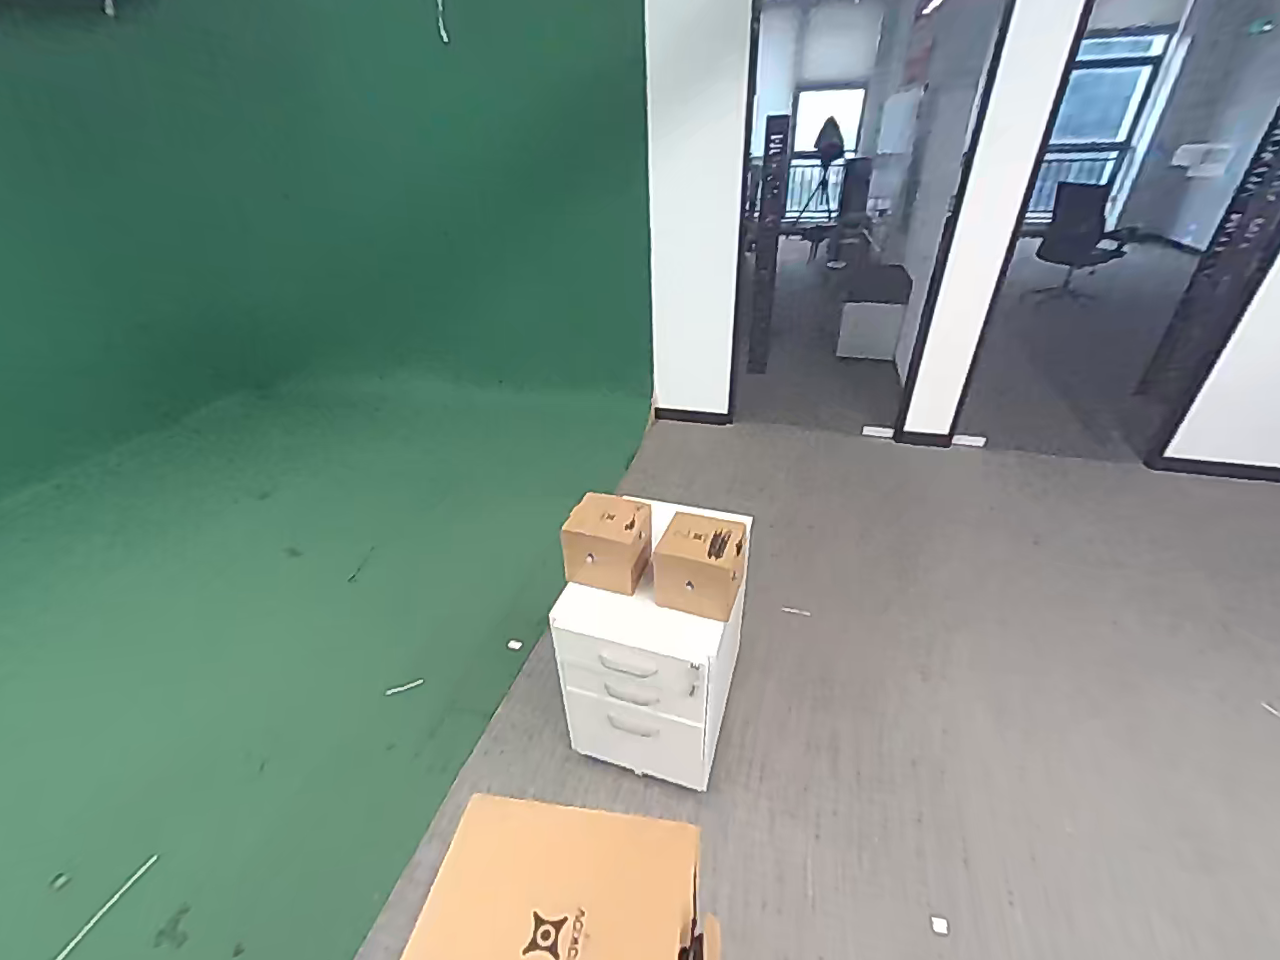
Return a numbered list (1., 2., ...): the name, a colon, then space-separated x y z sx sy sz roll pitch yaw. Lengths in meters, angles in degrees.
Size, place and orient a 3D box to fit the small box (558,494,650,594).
1. small box: -0.082 0.159 1.335 0.179 0.176 0.168 9 35 16
